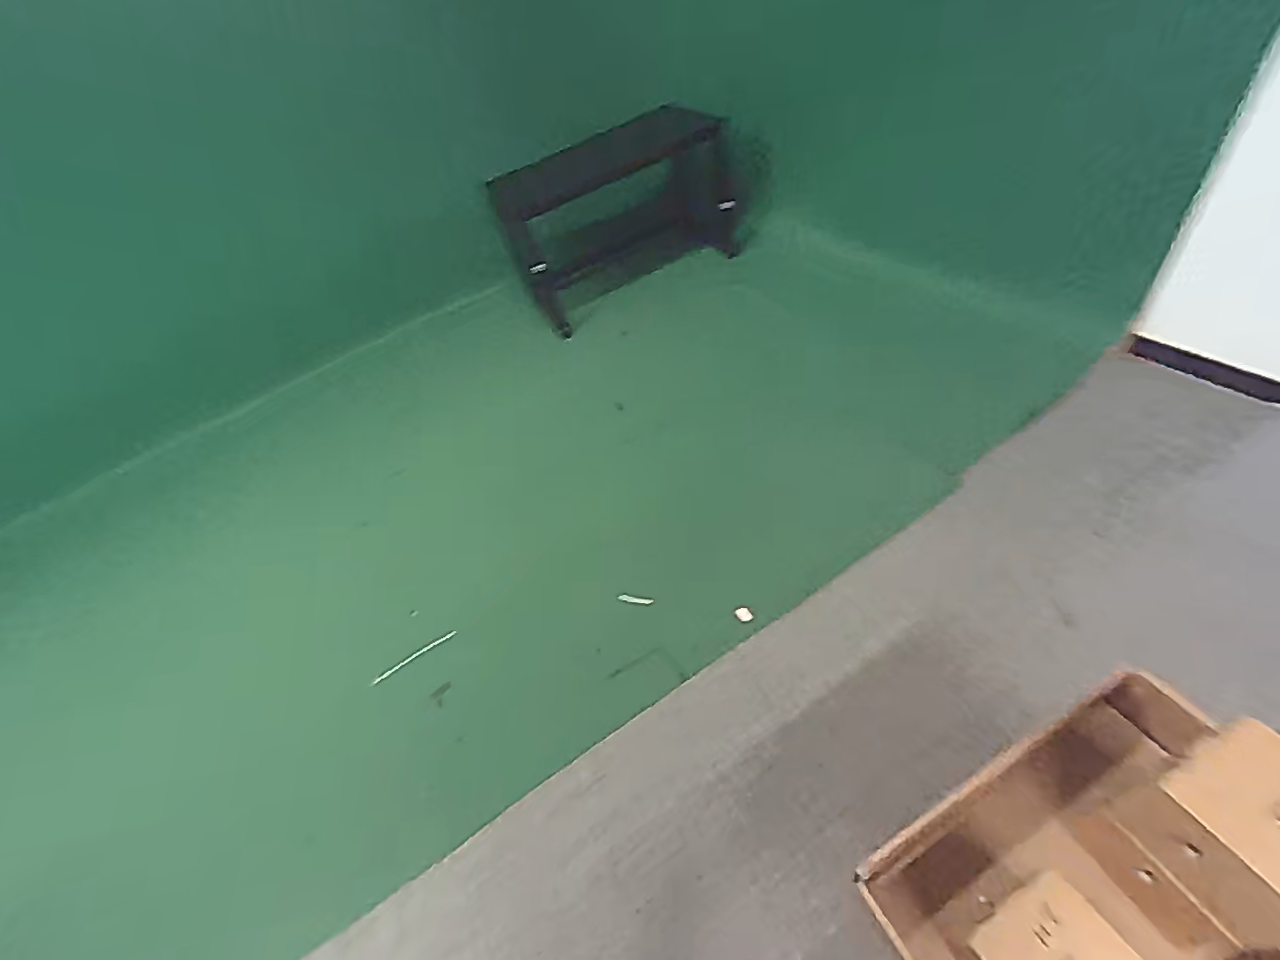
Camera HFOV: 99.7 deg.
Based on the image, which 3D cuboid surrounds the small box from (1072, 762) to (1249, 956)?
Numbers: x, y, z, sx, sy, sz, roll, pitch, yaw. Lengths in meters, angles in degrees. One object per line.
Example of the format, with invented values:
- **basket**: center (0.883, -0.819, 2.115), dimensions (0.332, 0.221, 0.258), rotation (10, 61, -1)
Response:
- **small box**: center (0.803, 0.564, 0.803), dimensions (0.168, 0.176, 0.179), rotation (-27, 48, -8)

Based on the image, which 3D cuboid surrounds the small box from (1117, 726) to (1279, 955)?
- **small box**: center (0.771, 0.456, 0.684), dimensions (0.168, 0.176, 0.179), rotation (-28, 46, -8)

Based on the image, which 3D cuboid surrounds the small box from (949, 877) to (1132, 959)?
- **small box**: center (0.569, 0.695, 0.746), dimensions (0.168, 0.176, 0.179), rotation (-29, 47, -11)
